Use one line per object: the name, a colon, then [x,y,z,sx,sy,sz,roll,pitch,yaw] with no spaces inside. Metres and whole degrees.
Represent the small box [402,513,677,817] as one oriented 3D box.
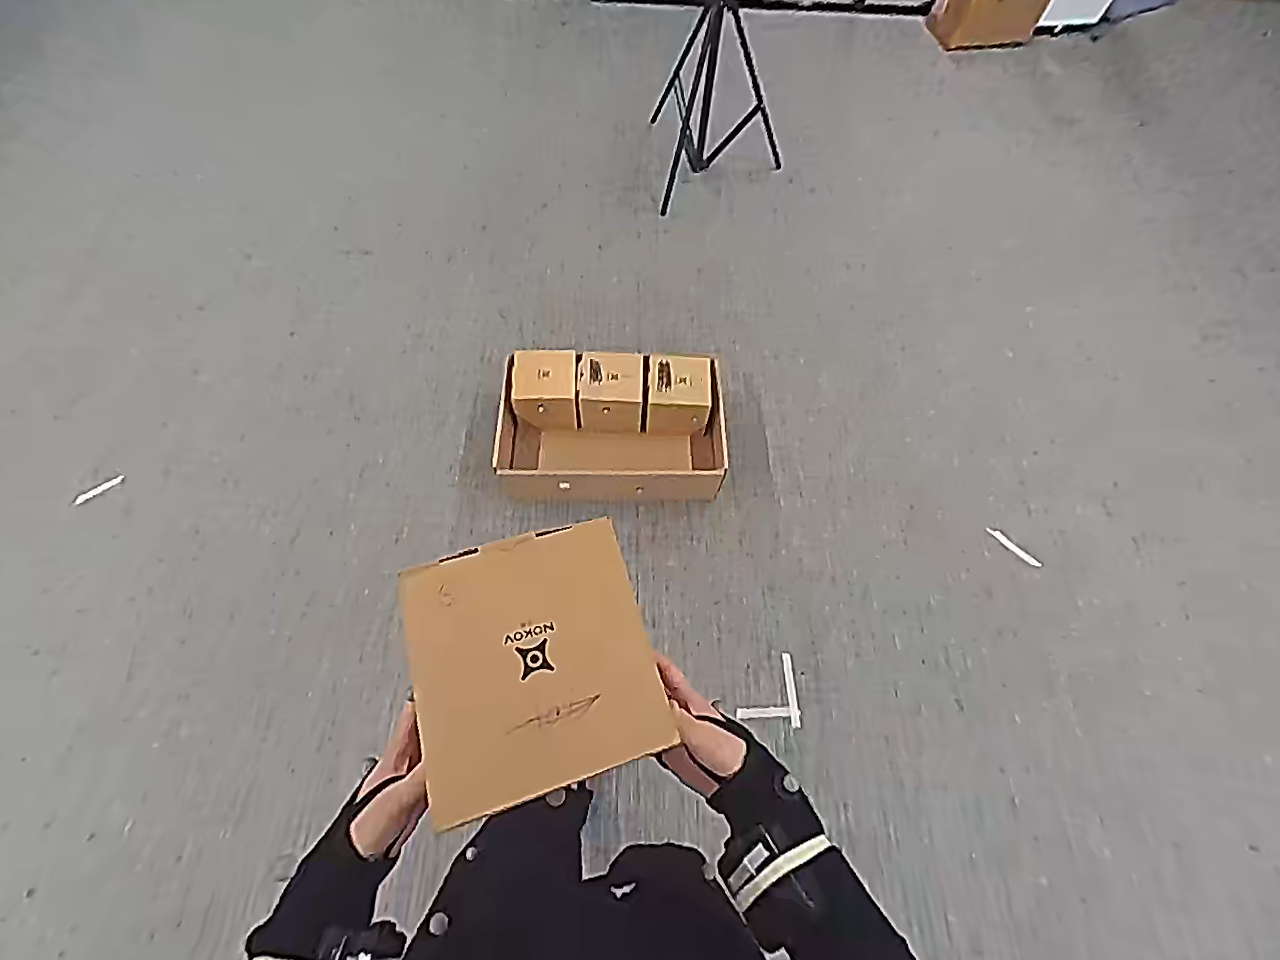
small box: [-0.085,0.153,0.454,0.168,0.176,0.179,-13,67,-13]
